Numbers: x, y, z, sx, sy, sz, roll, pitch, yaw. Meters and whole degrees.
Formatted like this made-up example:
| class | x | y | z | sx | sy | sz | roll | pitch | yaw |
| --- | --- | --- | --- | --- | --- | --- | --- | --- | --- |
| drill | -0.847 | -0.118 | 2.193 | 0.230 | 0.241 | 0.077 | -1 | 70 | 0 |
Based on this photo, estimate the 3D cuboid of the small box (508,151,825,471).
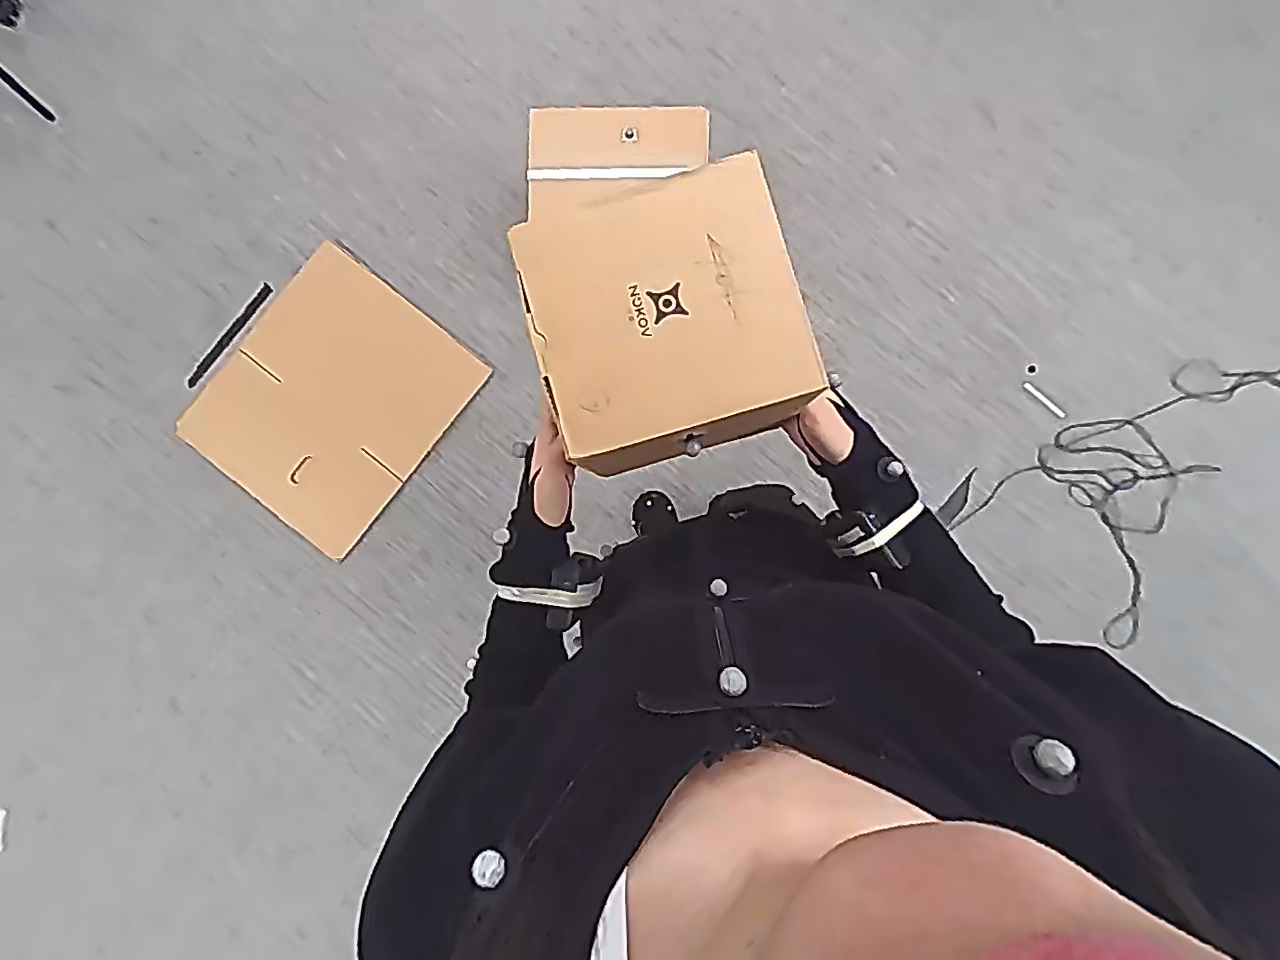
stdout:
| class | x | y | z | sx | sy | sz | roll | pitch | yaw |
| --- | --- | --- | --- | --- | --- | --- | --- | --- | --- |
| small box | 0.021 | -0.110 | 0.431 | 0.179 | 0.176 | 0.168 | -16 | 86 | 3 |
